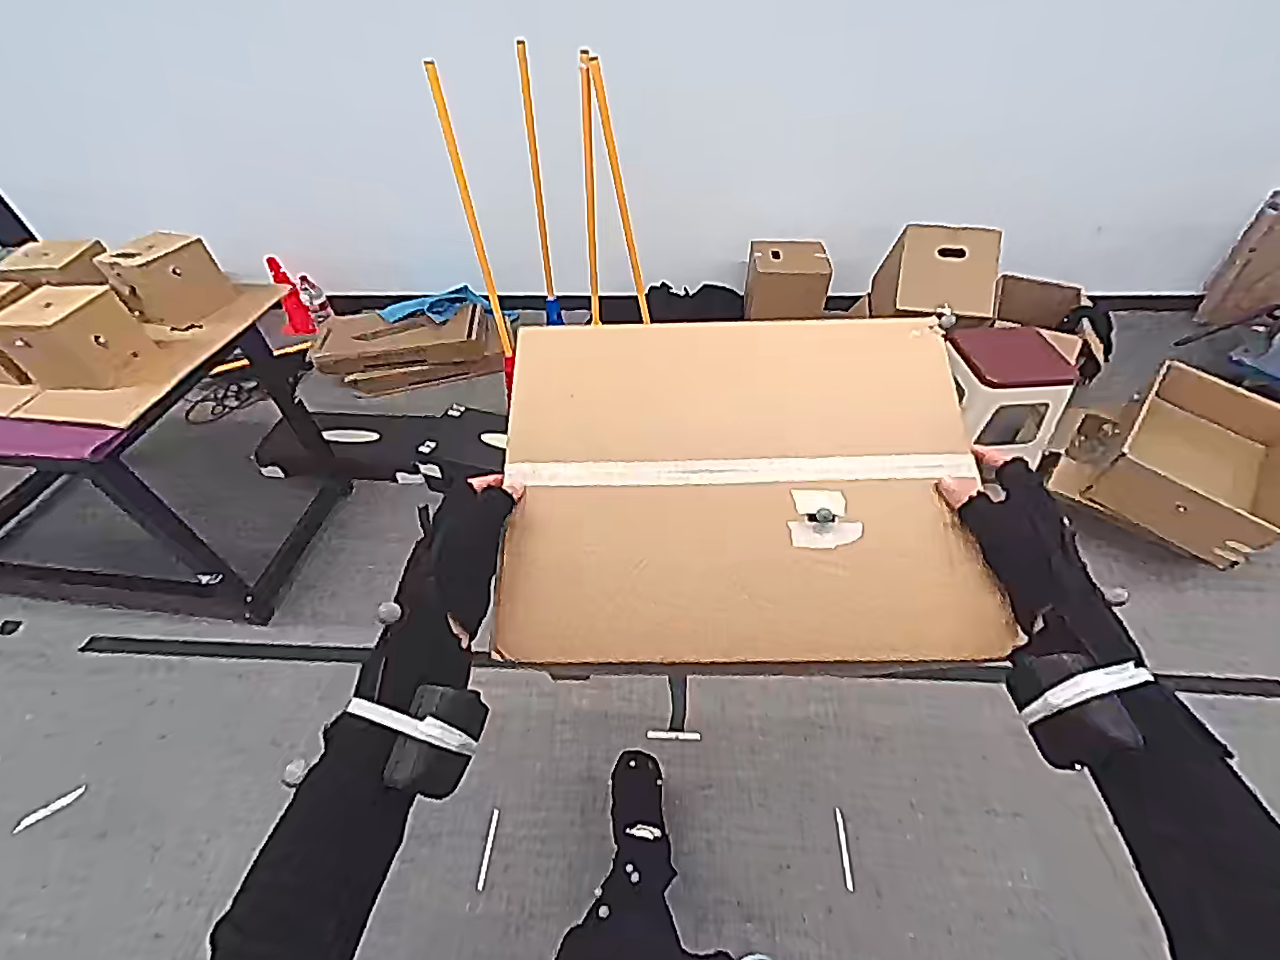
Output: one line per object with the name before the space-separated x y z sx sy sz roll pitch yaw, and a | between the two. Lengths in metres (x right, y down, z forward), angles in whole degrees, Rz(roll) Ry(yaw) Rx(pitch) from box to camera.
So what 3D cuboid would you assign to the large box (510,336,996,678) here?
large box | 0.090 0.058 0.630 0.408 0.320 0.320 -1 69 2
